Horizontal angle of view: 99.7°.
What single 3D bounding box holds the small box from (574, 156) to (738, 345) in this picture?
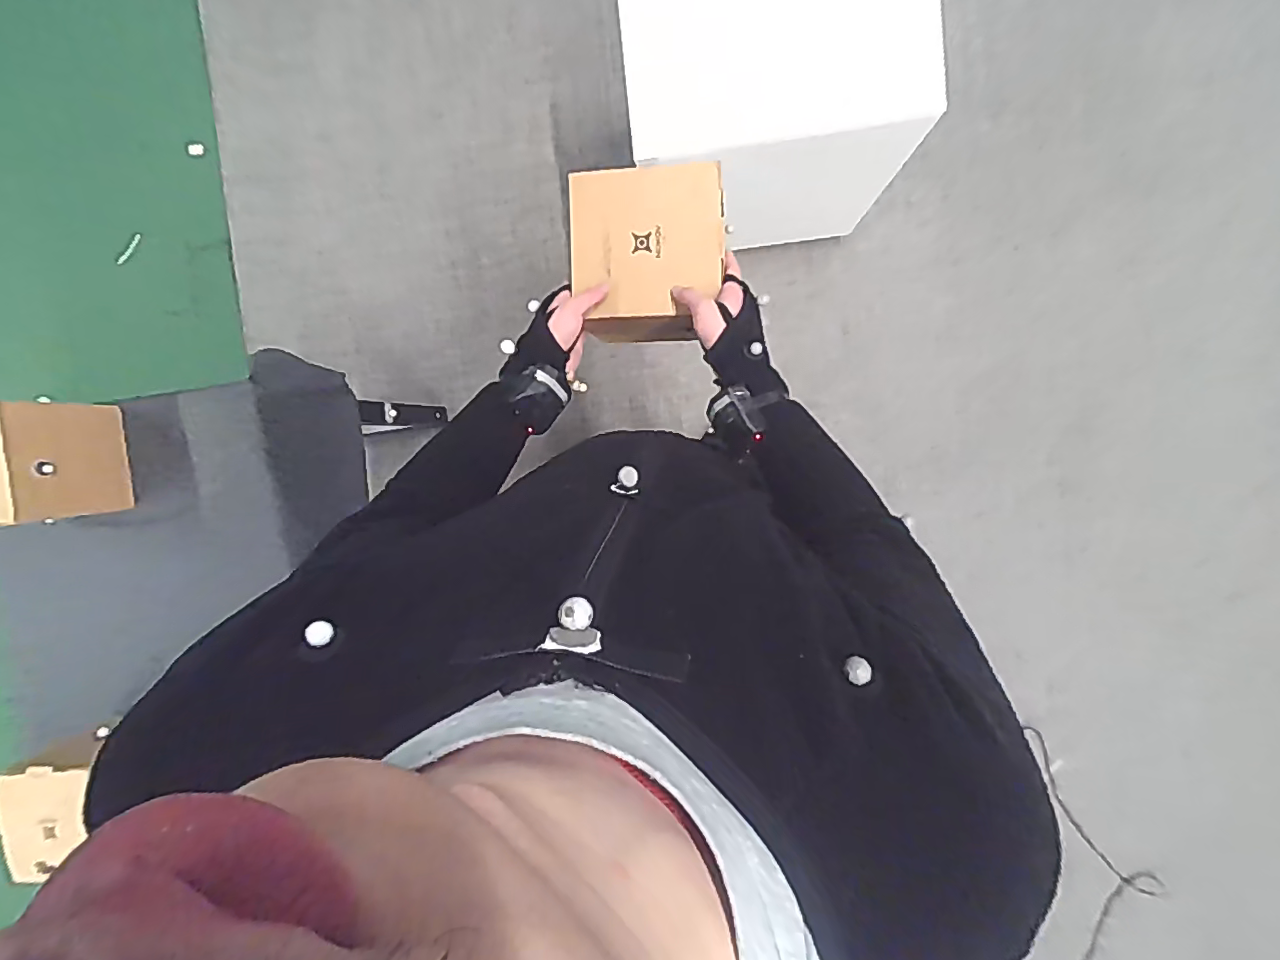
[{"bbox_3d":[0.025,-0.266,0.666,0.179,0.176,0.168,-2,93,7],"label":"small box"}]
